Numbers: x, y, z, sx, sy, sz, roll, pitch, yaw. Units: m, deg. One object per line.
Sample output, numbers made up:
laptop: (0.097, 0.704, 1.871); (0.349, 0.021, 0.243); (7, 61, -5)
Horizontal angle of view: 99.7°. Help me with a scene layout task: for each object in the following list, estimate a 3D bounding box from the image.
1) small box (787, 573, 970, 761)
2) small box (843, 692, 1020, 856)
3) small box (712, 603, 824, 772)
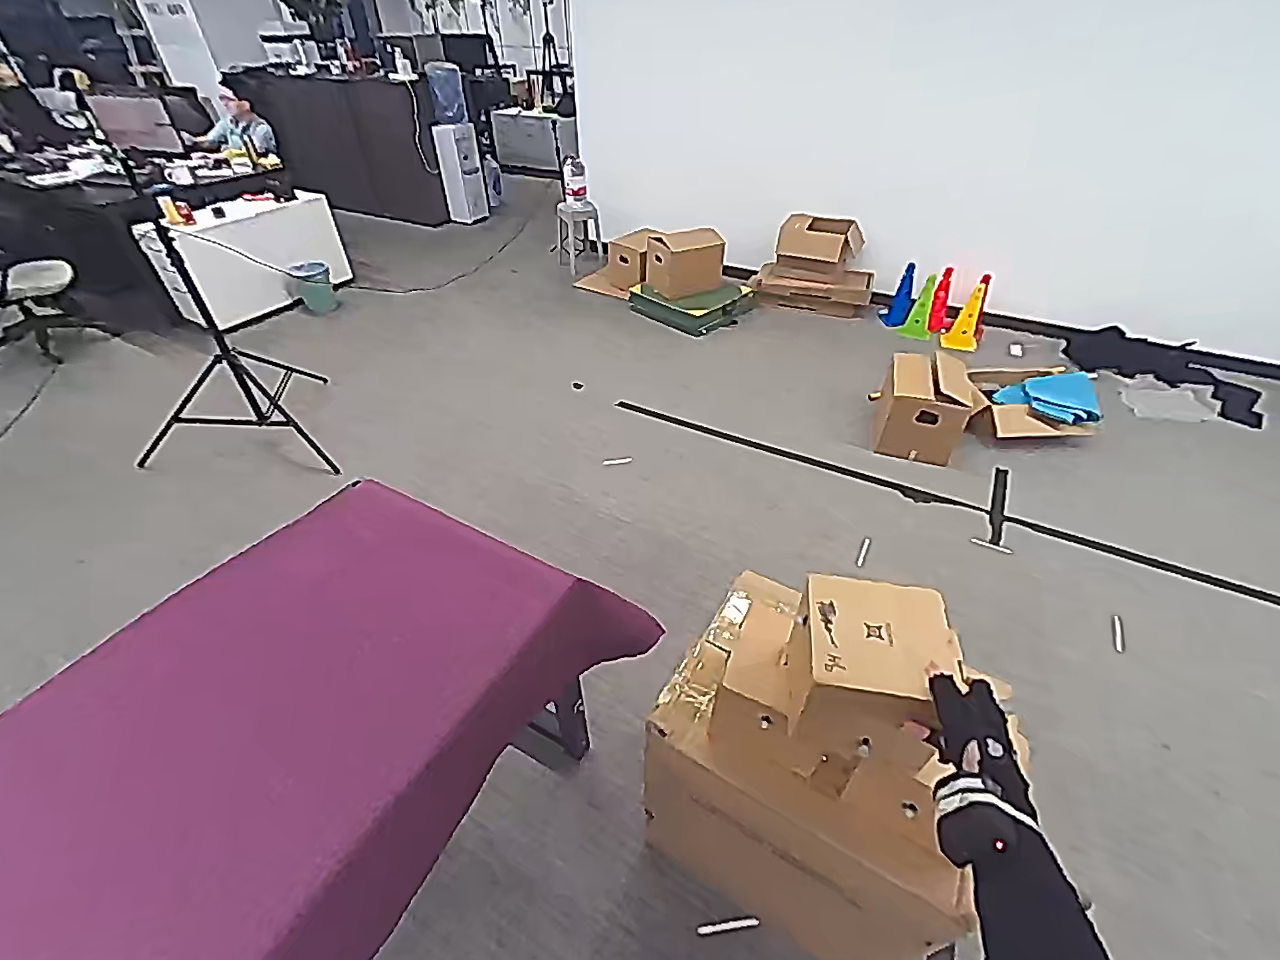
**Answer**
small box: (0.302, 0.253, 0.727); (0.179, 0.176, 0.168); (7, 41, 9)
small box: (0.419, 0.410, 0.790); (0.179, 0.176, 0.168); (19, 44, 25)
small box: (0.227, 0.339, 0.879); (0.179, 0.176, 0.168); (19, 45, 19)
